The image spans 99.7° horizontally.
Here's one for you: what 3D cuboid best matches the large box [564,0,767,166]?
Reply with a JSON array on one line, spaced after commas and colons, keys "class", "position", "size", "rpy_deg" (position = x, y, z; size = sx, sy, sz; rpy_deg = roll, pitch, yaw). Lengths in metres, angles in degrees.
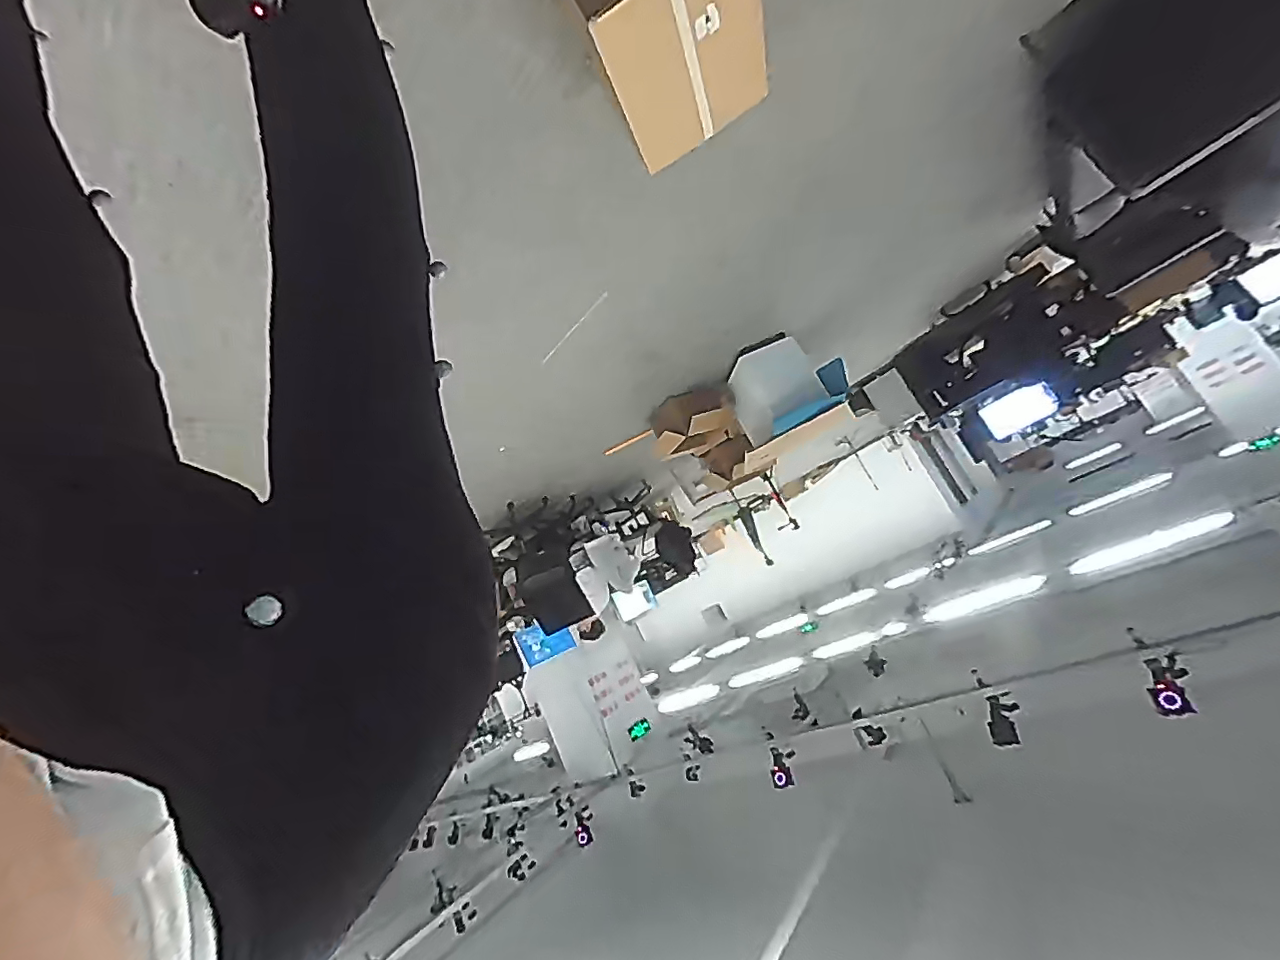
[{"class": "large box", "position": [0.033, -0.954, 1.085], "size": [0.320, 0.320, 0.408], "rpy_deg": [-29, 167, 12]}]
